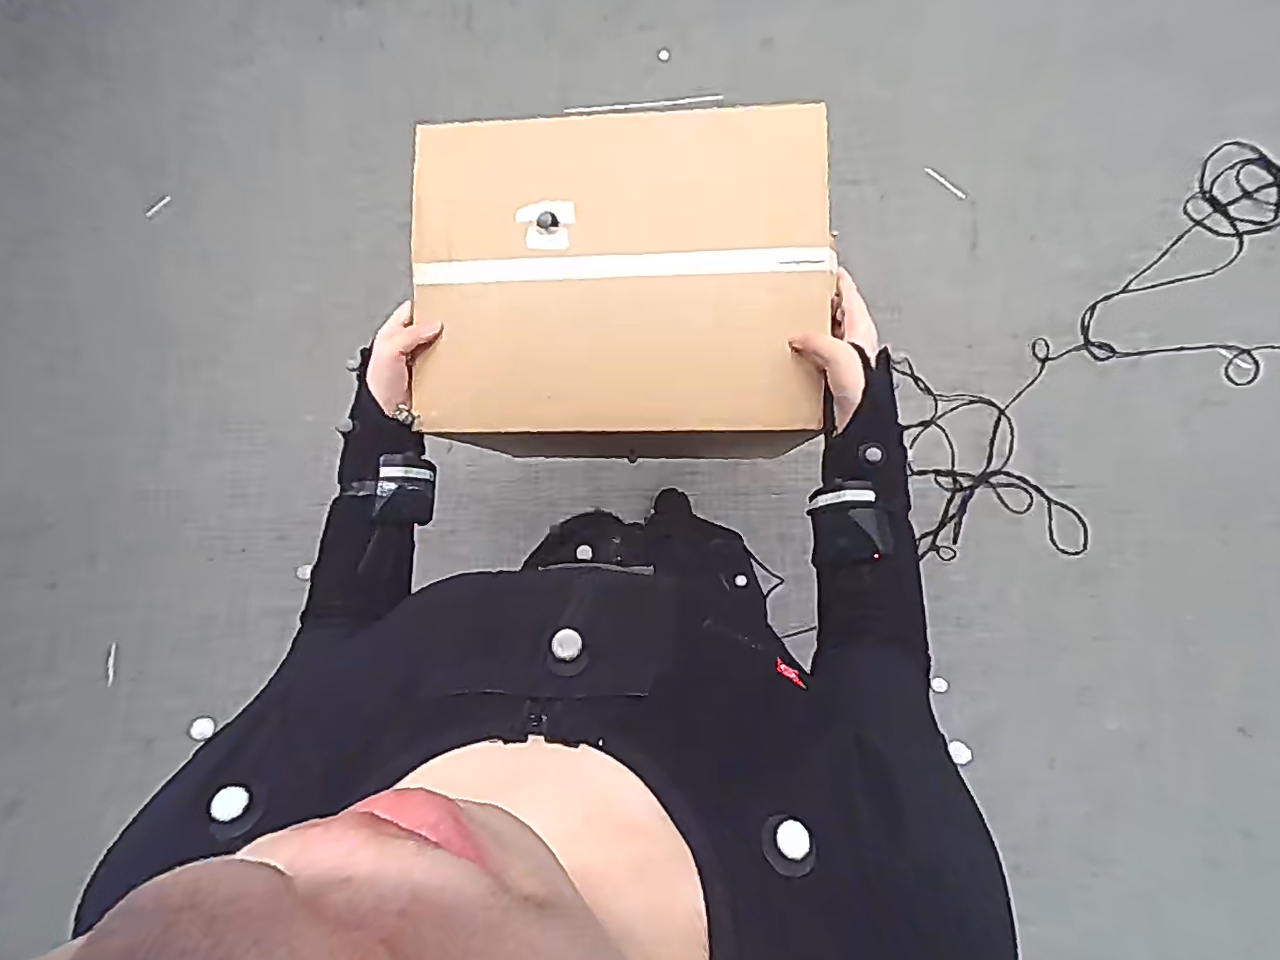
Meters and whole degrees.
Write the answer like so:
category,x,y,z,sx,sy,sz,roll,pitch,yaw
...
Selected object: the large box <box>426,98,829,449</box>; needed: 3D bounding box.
category,x,y,z,sx,sy,sz,roll,pitch,yaw
large box,-0.004,-0.206,0.681,0.408,0.320,0.320,-1,88,6
